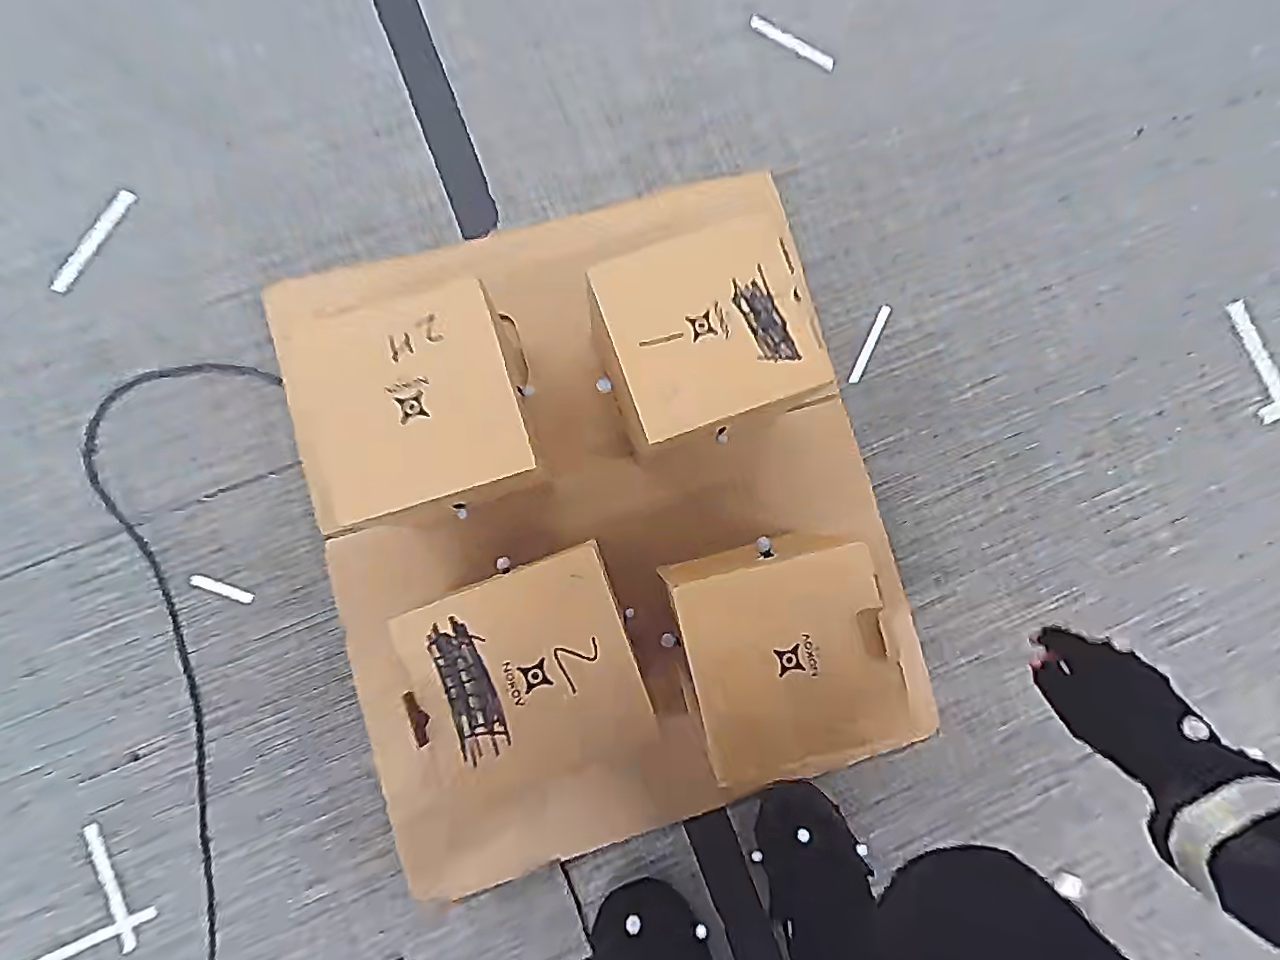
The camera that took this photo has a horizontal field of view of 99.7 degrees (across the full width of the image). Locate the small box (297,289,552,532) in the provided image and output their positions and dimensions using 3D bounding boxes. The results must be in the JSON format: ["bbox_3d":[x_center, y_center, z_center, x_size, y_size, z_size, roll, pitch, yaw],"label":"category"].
[{"bbox_3d":[-0.191,-0.055,0.533,0.168,0.176,0.179,-16,86,-5],"label":"small box"}]

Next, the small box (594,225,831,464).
[{"bbox_3d":[0.059,-0.122,0.552,0.179,0.176,0.168,-18,87,-4],"label":"small box"}]
